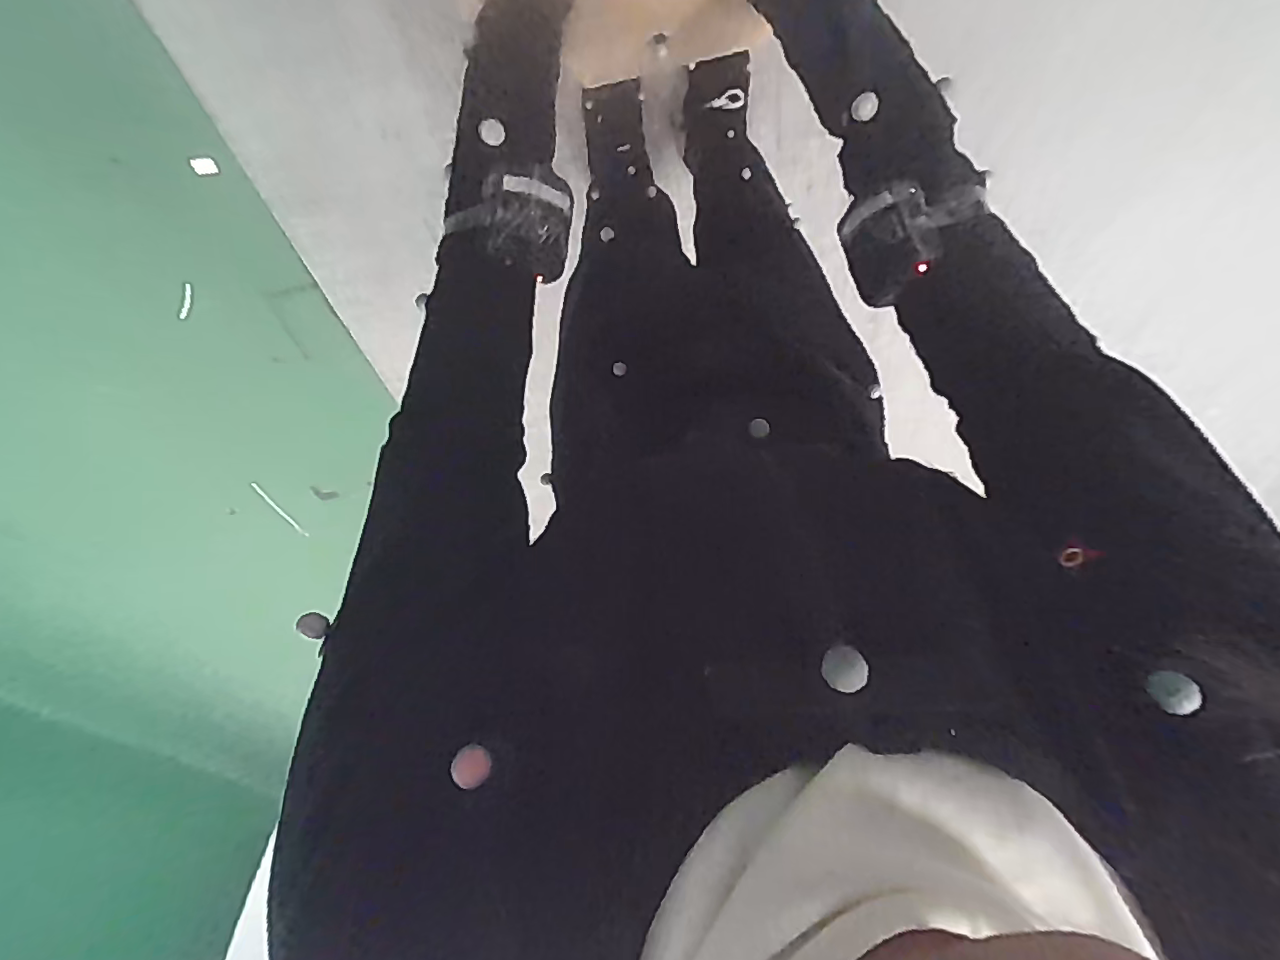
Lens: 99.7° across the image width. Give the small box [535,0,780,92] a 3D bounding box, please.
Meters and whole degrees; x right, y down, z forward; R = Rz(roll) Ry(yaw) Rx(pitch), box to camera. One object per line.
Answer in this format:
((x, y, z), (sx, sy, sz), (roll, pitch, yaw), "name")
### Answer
((0.012, -0.424, 0.407), (0.179, 0.176, 0.168), (-7, 113, 12), "small box")
